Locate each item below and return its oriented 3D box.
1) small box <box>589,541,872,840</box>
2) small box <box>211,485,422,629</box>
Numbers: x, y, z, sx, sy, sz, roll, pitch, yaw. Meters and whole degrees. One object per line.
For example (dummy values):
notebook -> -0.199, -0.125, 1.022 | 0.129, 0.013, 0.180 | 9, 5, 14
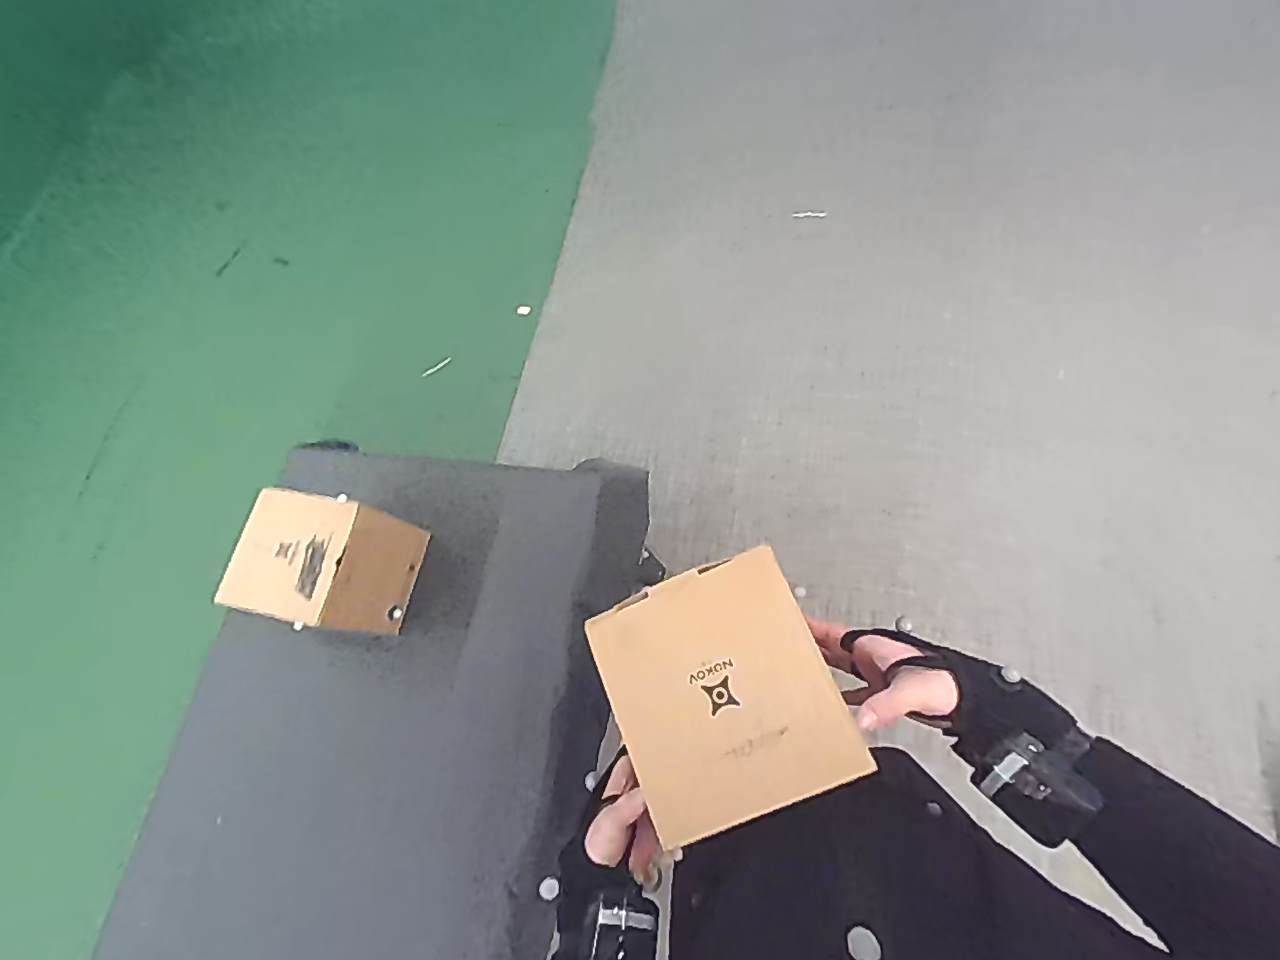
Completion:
small box -> 0.075, 0.174, 0.484 | 0.168, 0.176, 0.179 | -23, 73, 6
small box -> -0.456, 0.119, 0.794 | 0.179, 0.176, 0.168 | 7, 72, 15
